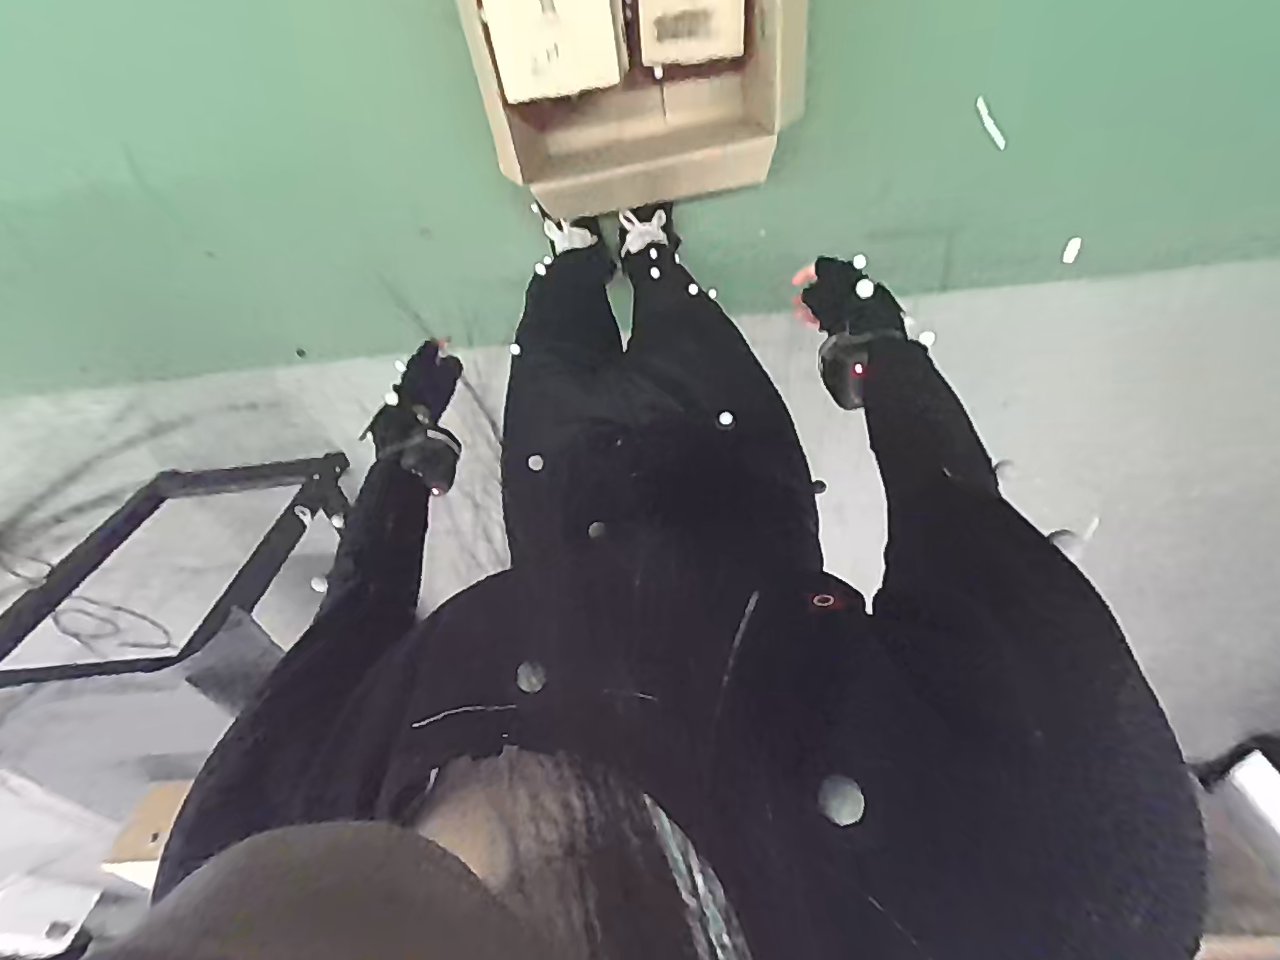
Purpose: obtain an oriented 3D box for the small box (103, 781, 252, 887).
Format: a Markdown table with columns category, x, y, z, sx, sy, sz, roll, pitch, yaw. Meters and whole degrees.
| category | x | y | z | sx | sy | sz | roll | pitch | yaw |
| --- | --- | --- | --- | --- | --- | --- | --- | --- | --- |
| small box | -1.047 | 0.815 | 1.251 | 0.179 | 0.176 | 0.168 | -6 | 129 | 5 |
